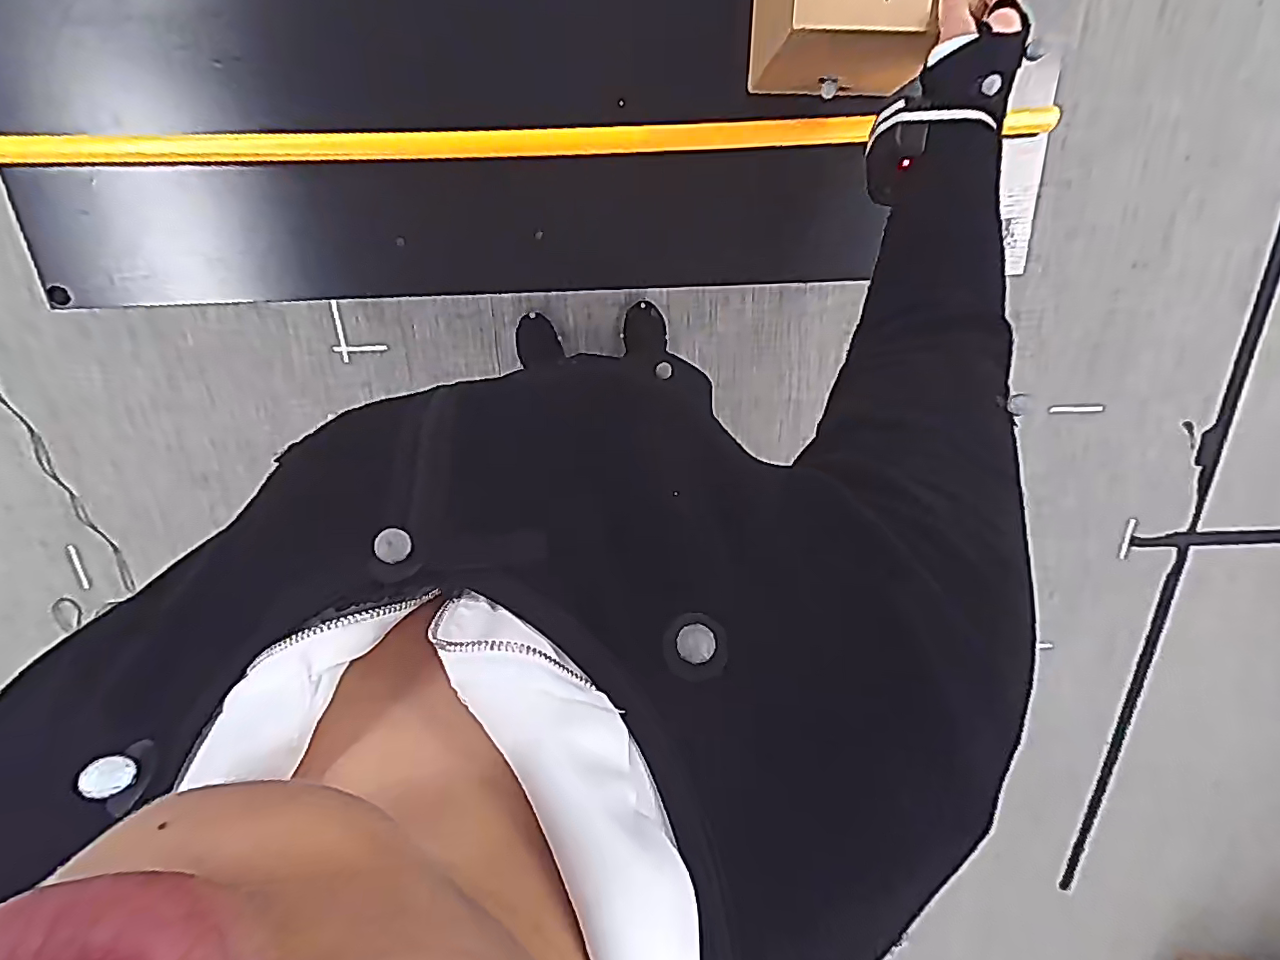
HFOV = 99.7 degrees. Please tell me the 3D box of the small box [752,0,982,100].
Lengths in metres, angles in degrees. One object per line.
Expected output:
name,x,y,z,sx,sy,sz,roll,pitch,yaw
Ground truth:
small box,0.210,-0.495,0.515,0.168,0.176,0.179,0,110,-2
